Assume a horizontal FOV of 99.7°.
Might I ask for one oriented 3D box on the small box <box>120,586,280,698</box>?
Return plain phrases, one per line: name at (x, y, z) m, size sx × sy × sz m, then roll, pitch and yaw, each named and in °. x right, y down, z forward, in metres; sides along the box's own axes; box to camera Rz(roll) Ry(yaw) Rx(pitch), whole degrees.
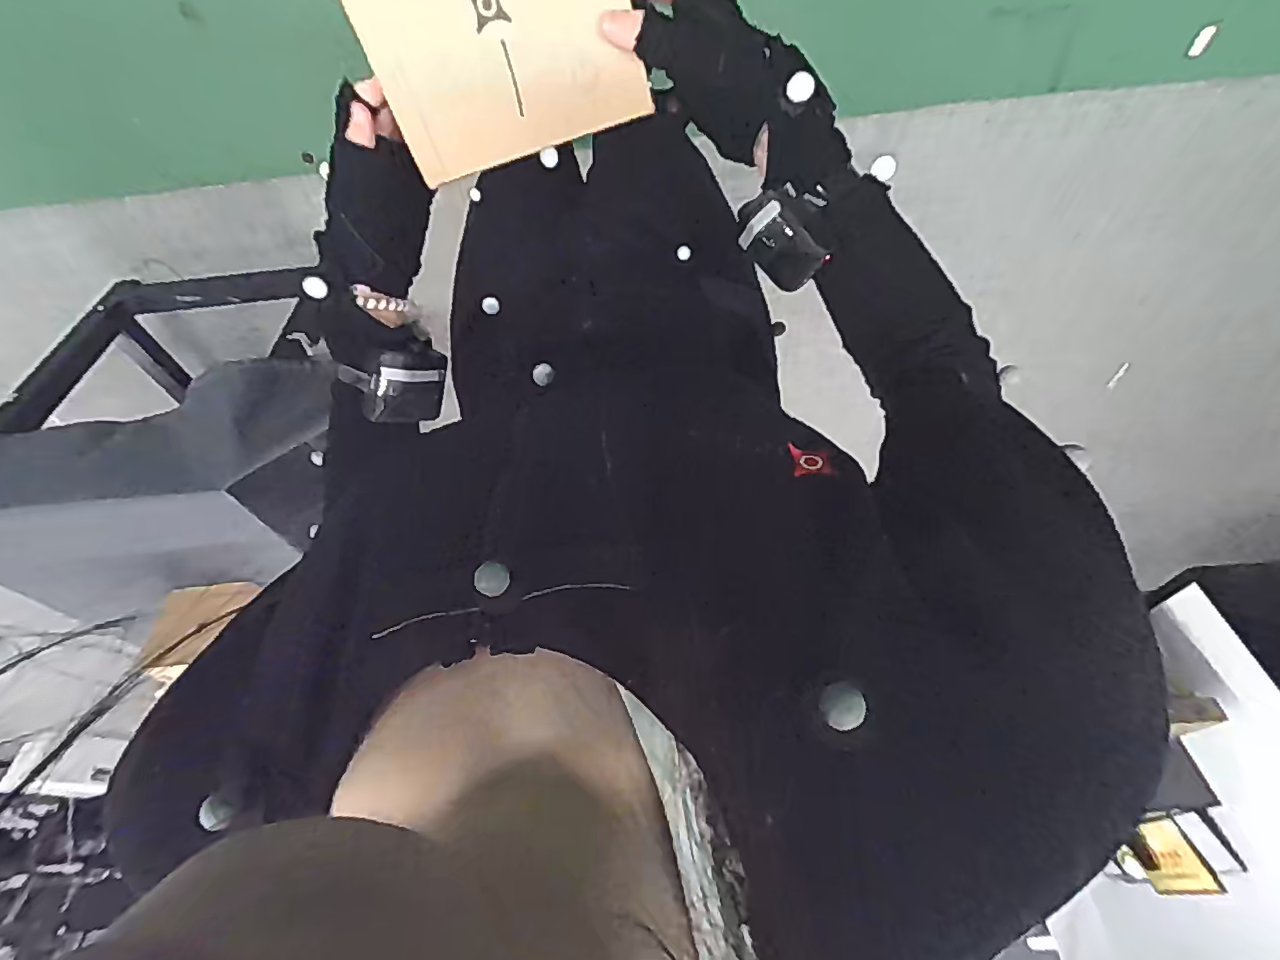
small box at (-0.872, 0.327, 1.099) m, size 0.179 × 0.176 × 0.168 m, roll -8°, pitch 142°, yaw 2°
